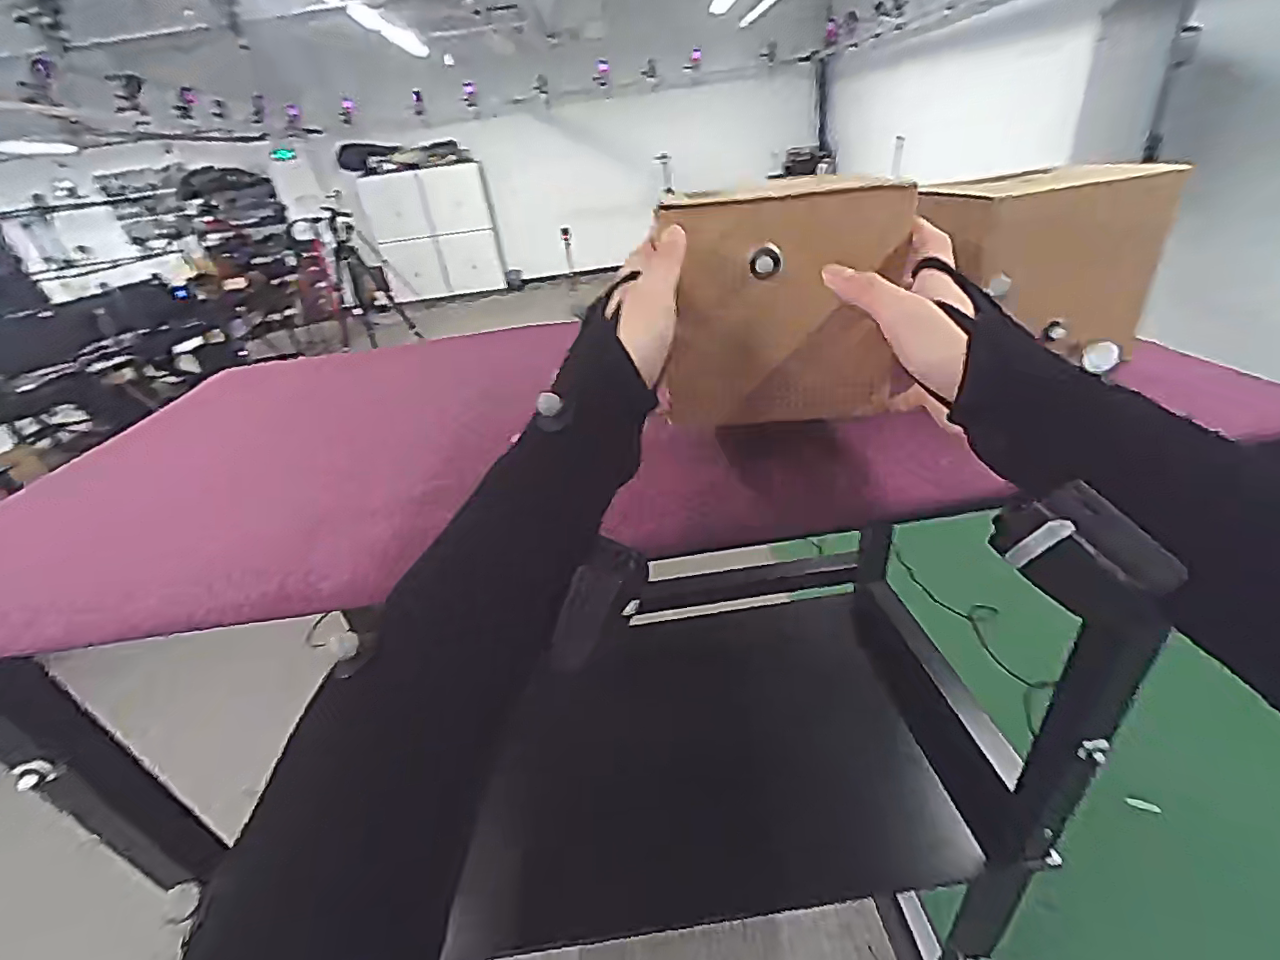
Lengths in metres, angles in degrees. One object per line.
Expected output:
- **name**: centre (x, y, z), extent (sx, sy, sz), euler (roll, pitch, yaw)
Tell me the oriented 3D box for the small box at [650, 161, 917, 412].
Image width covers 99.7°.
- **small box**: centre (0.107, -0.165, 0.461), extent (0.179, 0.176, 0.168), euler (-3, 32, 6)
